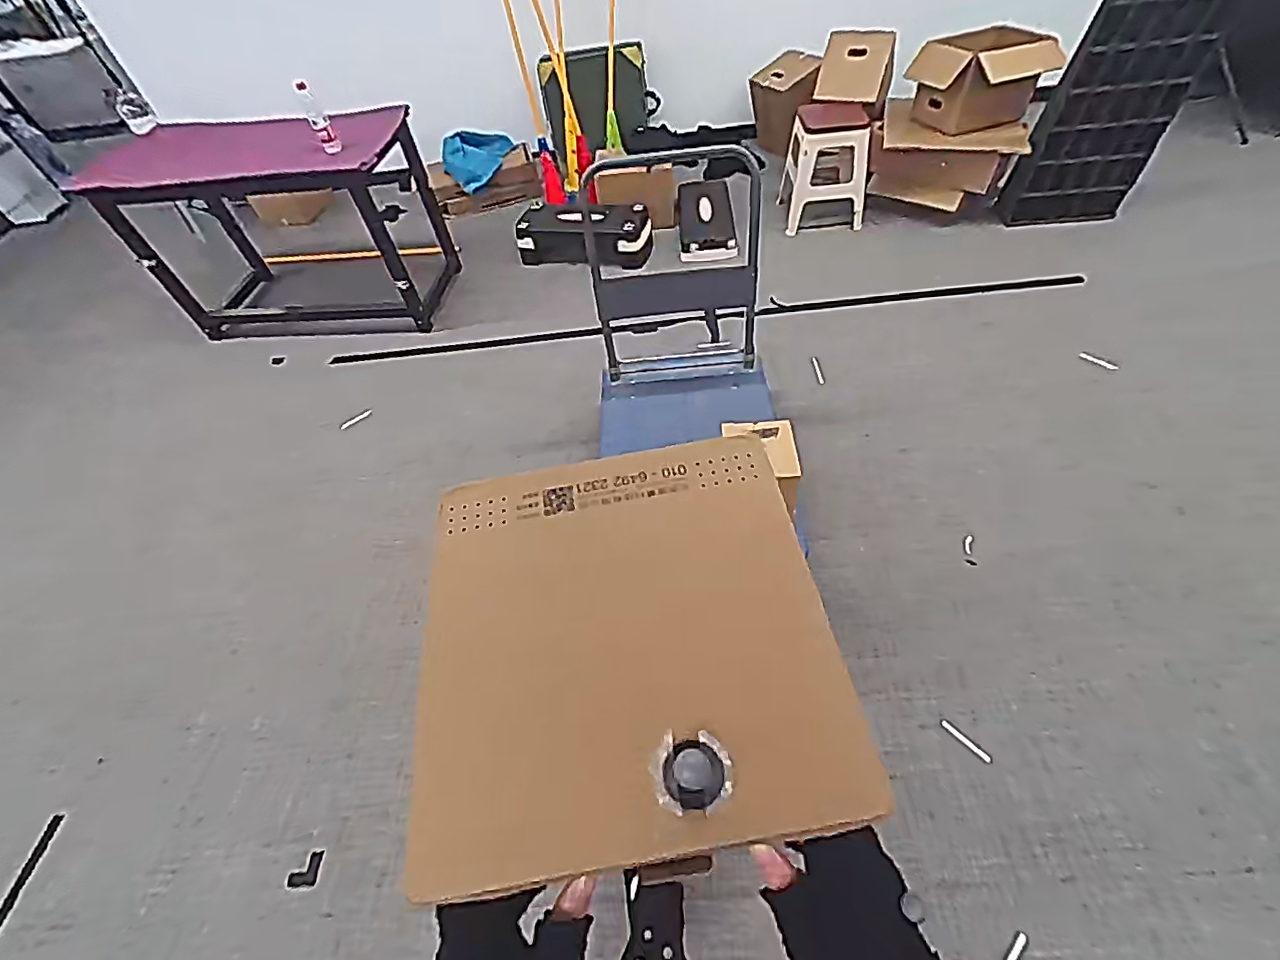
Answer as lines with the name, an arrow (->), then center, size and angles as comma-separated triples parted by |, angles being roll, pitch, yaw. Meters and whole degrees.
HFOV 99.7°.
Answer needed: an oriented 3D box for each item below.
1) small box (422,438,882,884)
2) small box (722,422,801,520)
small box -> -0.001, 0.101, 0.300 | 0.168, 0.179, 0.176 | -10, 56, -1
small box -> 0.282, -0.018, 1.312 | 0.168, 0.176, 0.179 | -3, 52, 5
